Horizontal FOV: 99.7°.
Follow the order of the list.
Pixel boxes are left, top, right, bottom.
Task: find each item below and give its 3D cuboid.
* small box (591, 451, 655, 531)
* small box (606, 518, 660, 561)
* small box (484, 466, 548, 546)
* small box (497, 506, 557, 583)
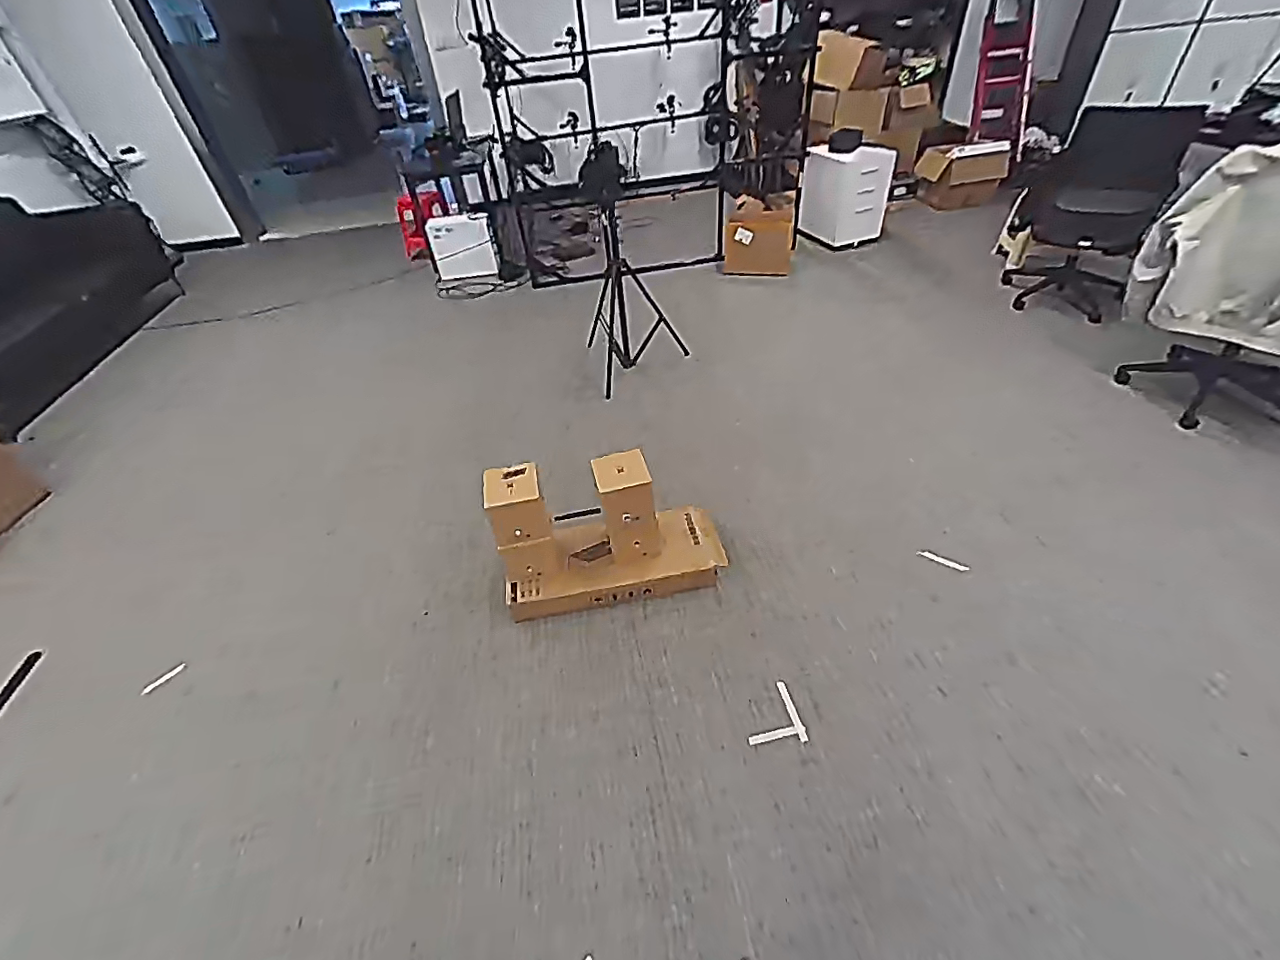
[{"bbox_3d":[-0.055,0.035,1.733,0.168,0.176,0.179,-14,42,-7],"label":"small box"},{"bbox_3d":[-0.031,0.157,1.841,0.168,0.176,0.179,-12,42,-5],"label":"small box"},{"bbox_3d":[-0.391,0.082,1.713,0.168,0.176,0.179,-11,41,-6],"label":"small box"},{"bbox_3d":[-0.374,0.216,1.808,0.168,0.176,0.179,-10,41,-5],"label":"small box"}]
